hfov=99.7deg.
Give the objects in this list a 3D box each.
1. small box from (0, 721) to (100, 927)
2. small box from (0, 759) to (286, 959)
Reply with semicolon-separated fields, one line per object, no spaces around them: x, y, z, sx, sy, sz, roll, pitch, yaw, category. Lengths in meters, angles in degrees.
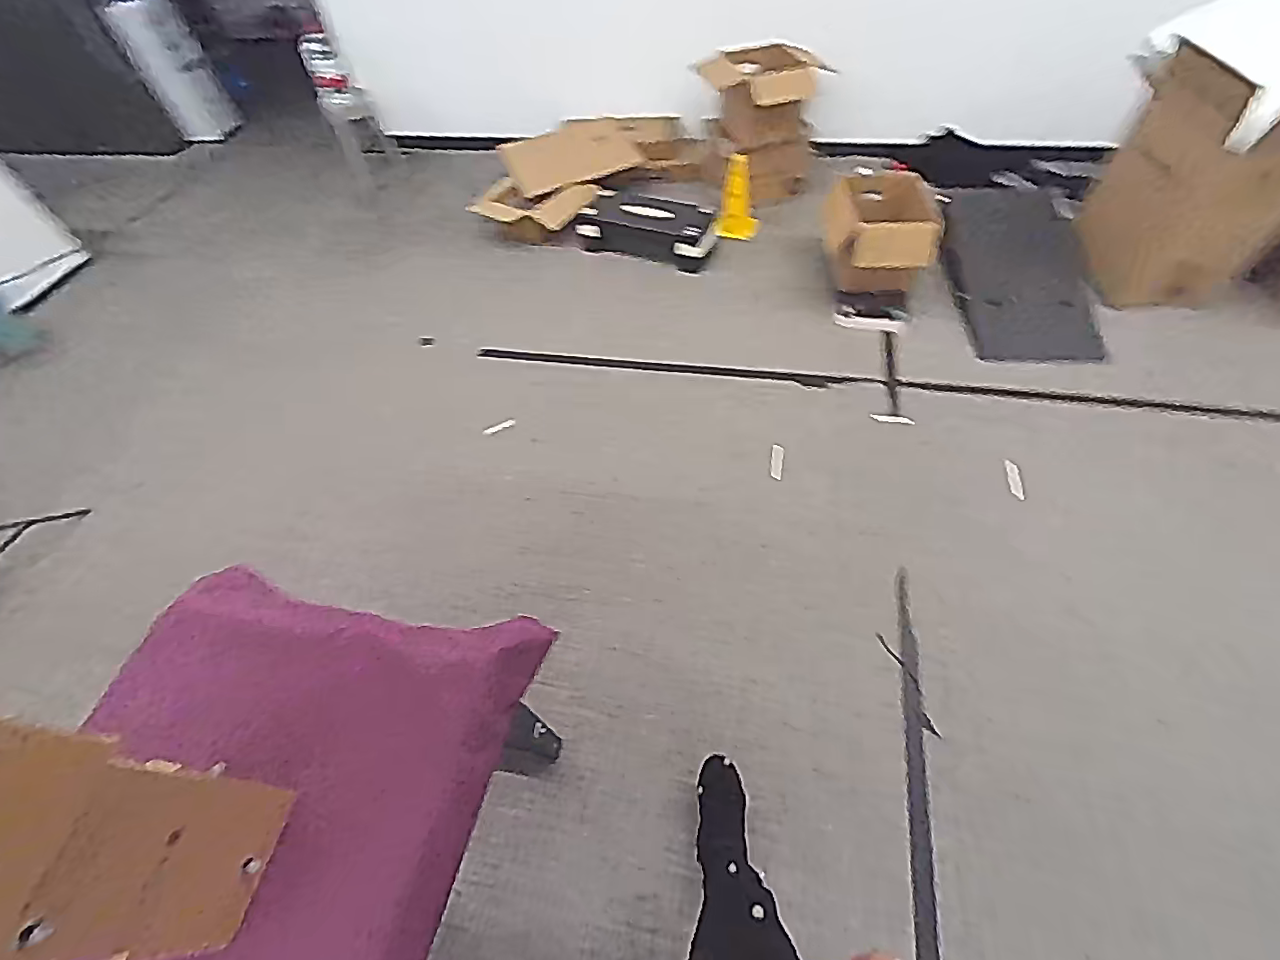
-0.595;0.273;0.411;0.168;0.176;0.179;2;55;7;small box
-0.590;0.470;0.674;0.168;0.176;0.179;4;54;9;small box
